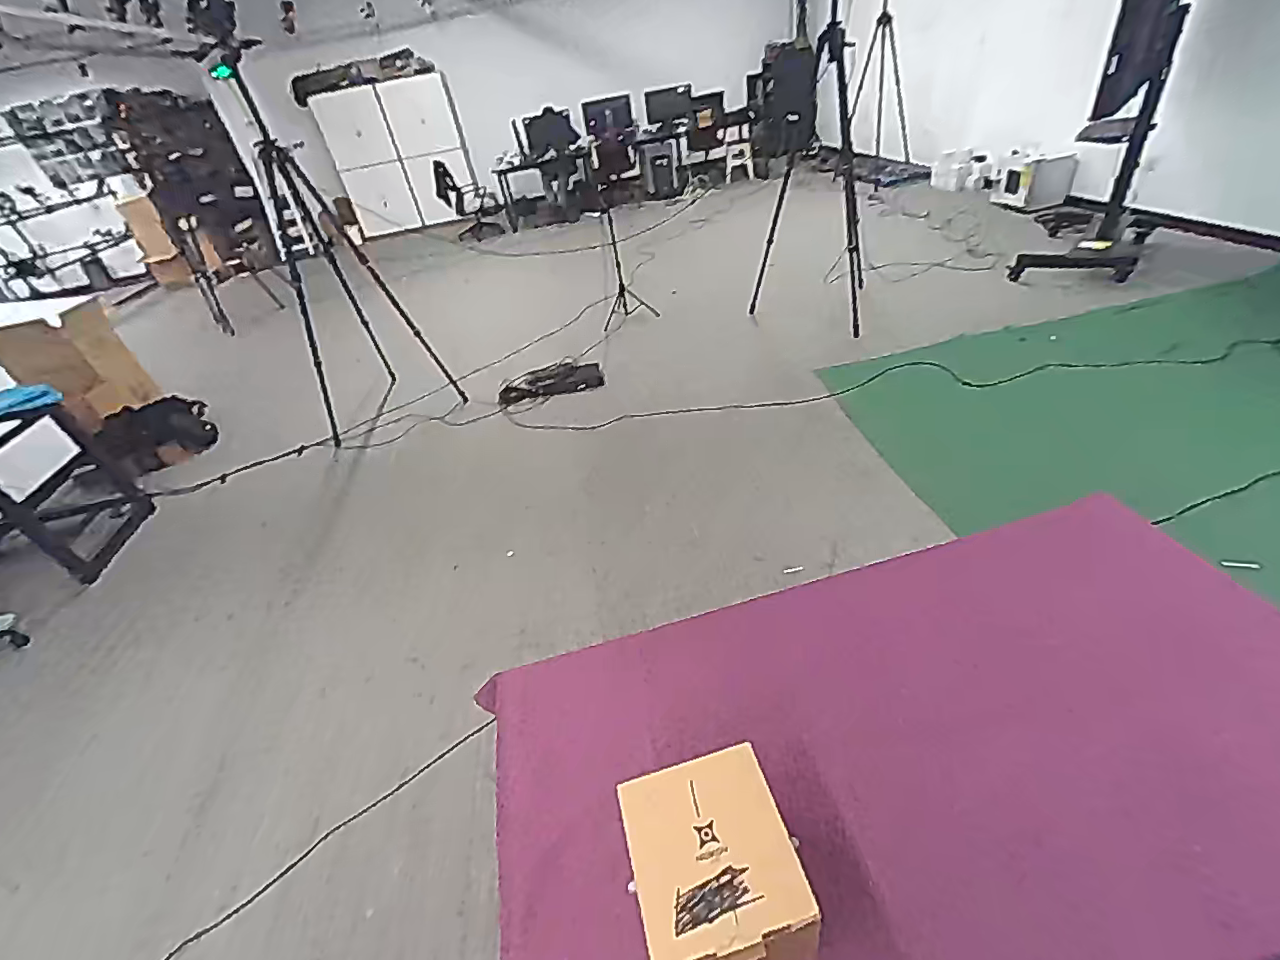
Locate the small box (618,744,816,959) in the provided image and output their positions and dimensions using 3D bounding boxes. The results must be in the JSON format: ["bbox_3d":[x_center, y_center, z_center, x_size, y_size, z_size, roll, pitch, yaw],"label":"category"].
[{"bbox_3d":[0.084,0.443,0.611,0.168,0.176,0.179,-16,36,-5],"label":"small box"}]
